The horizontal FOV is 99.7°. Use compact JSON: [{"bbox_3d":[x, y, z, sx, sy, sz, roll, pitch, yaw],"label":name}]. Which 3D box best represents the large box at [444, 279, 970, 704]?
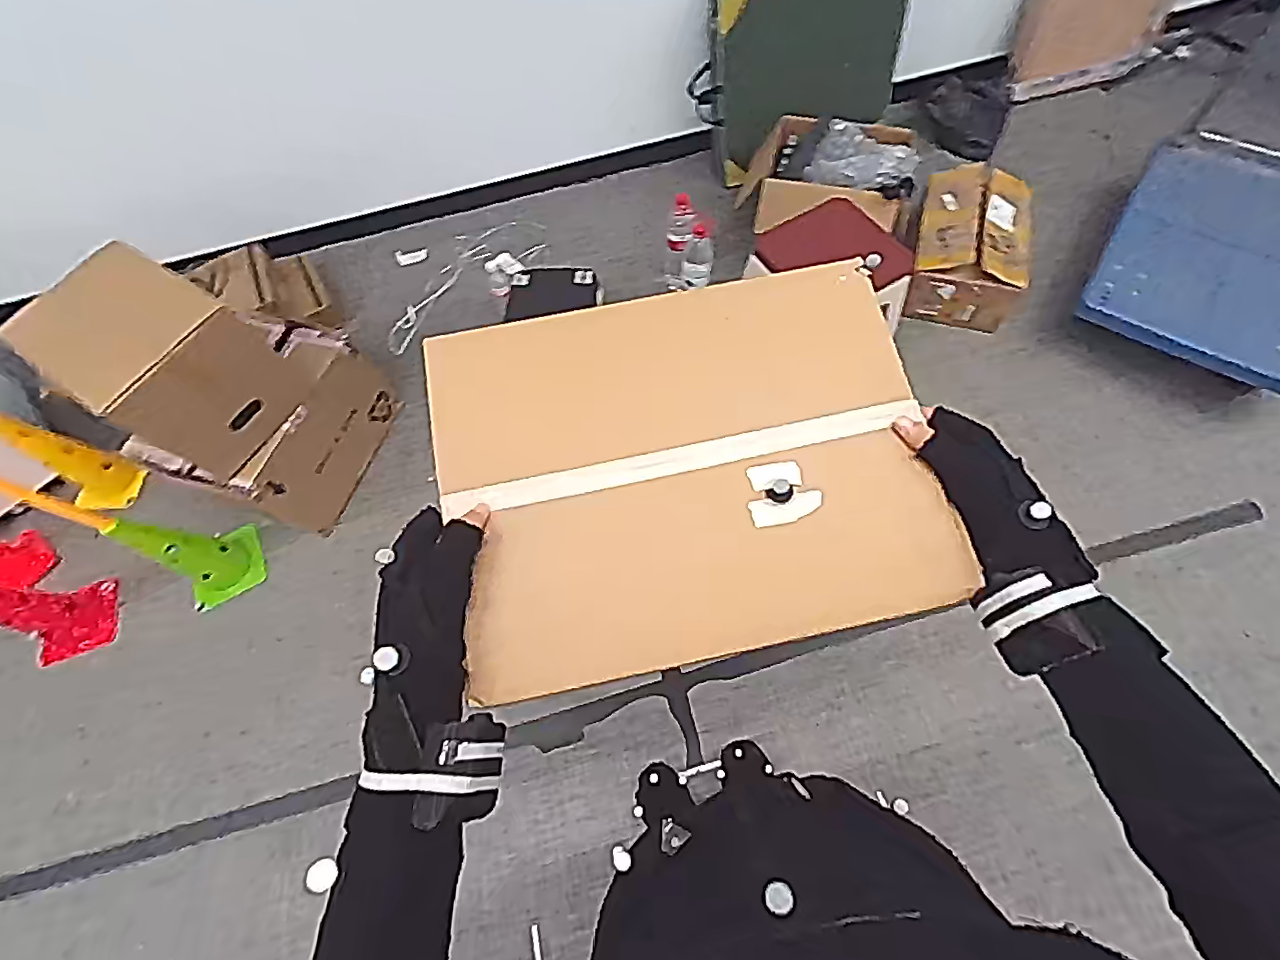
[{"bbox_3d":[0.044,0.033,0.609,0.408,0.320,0.320,-12,74,-3],"label":"large box"}]
